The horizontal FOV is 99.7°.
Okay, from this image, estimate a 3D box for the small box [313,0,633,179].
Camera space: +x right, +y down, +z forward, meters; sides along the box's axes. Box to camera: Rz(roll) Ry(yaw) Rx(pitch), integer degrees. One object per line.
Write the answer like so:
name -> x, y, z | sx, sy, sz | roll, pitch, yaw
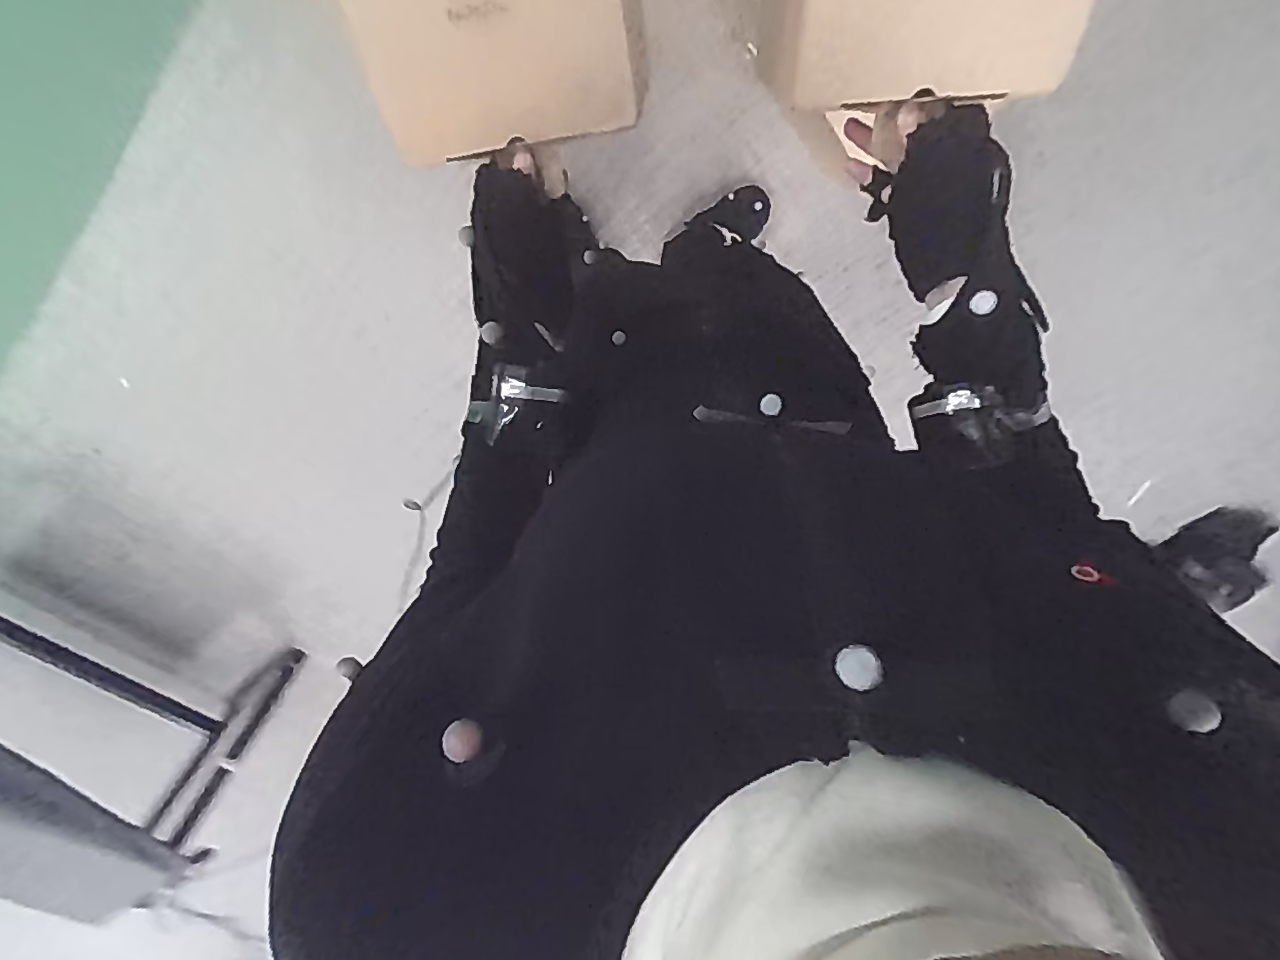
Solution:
small box -> -0.103, -0.338, 0.363 | 0.168, 0.176, 0.179 | -6, 136, 11
